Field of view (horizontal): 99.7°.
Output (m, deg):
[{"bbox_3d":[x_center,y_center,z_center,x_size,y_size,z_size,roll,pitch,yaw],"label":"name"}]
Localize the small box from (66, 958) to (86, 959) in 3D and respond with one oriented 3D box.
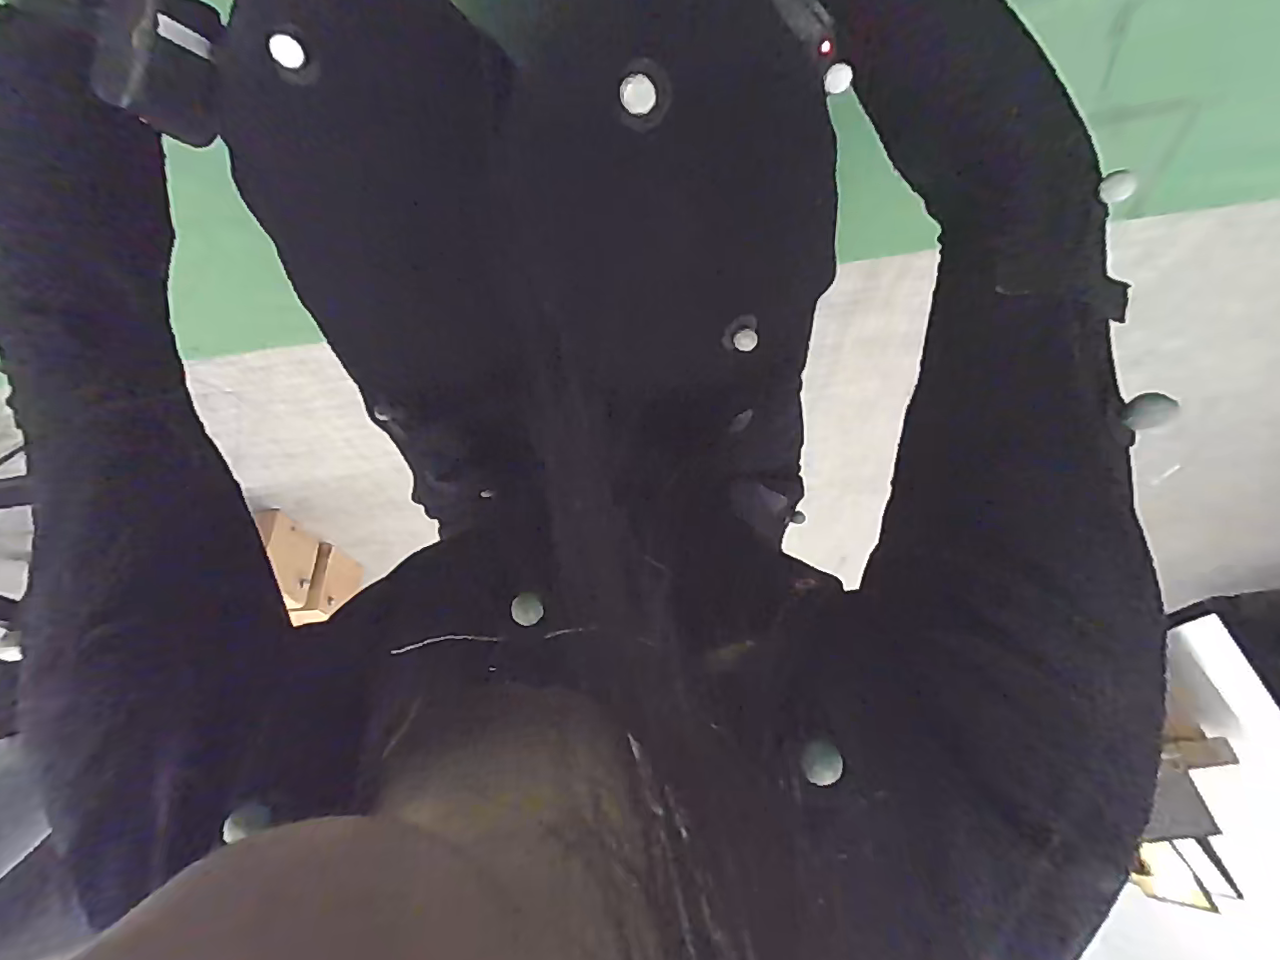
[{"bbox_3d":[-1.016,0.865,0.828,0.179,0.176,0.168,-10,149,3],"label":"small box"}]
